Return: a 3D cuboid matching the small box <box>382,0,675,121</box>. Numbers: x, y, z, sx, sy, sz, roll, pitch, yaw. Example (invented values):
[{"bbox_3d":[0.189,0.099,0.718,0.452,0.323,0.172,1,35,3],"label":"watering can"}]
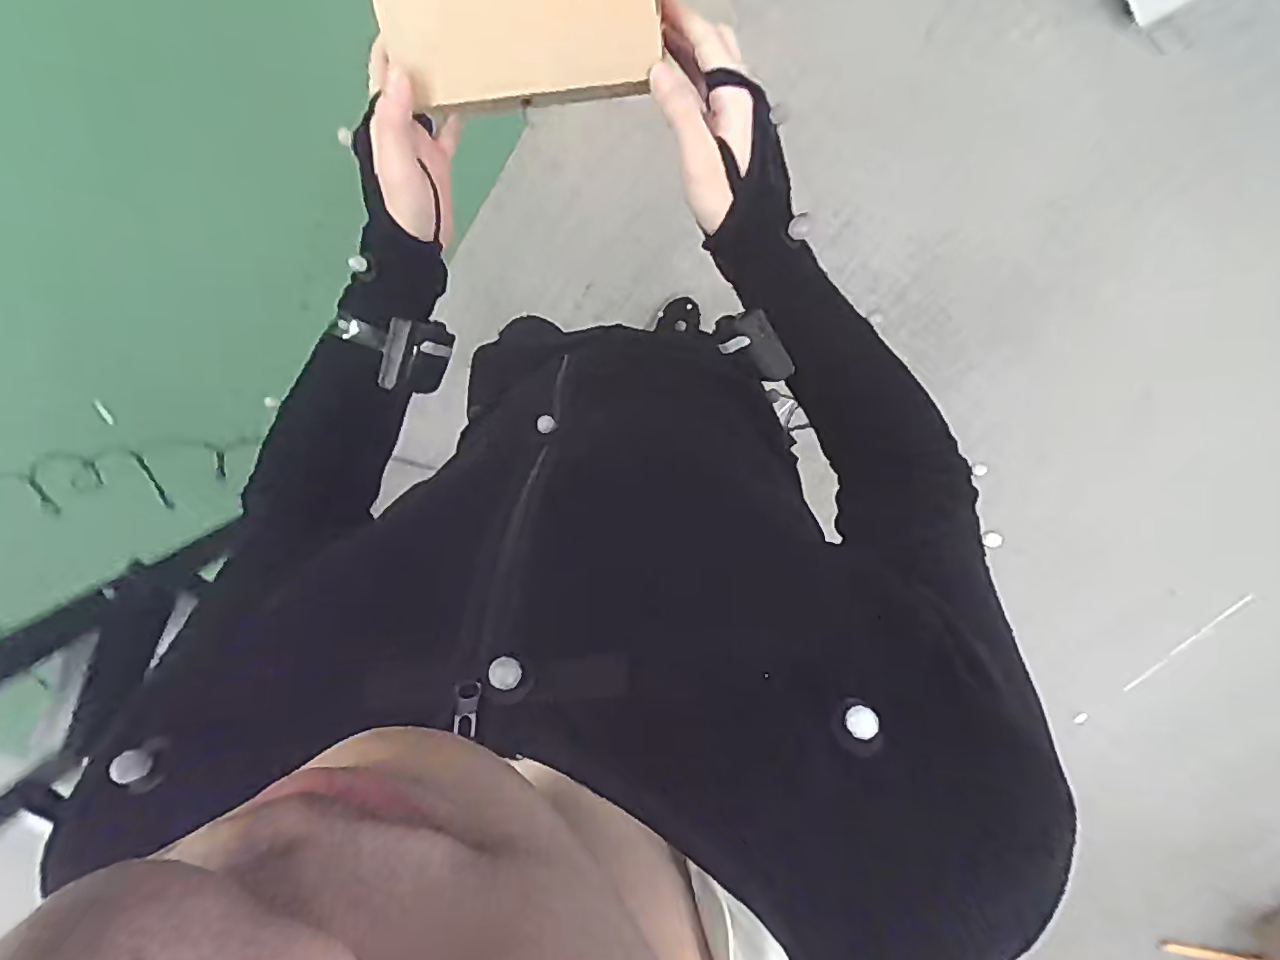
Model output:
[{"bbox_3d":[-0.068,-0.358,0.378,0.179,0.176,0.168,-2,122,6],"label":"small box"}]
